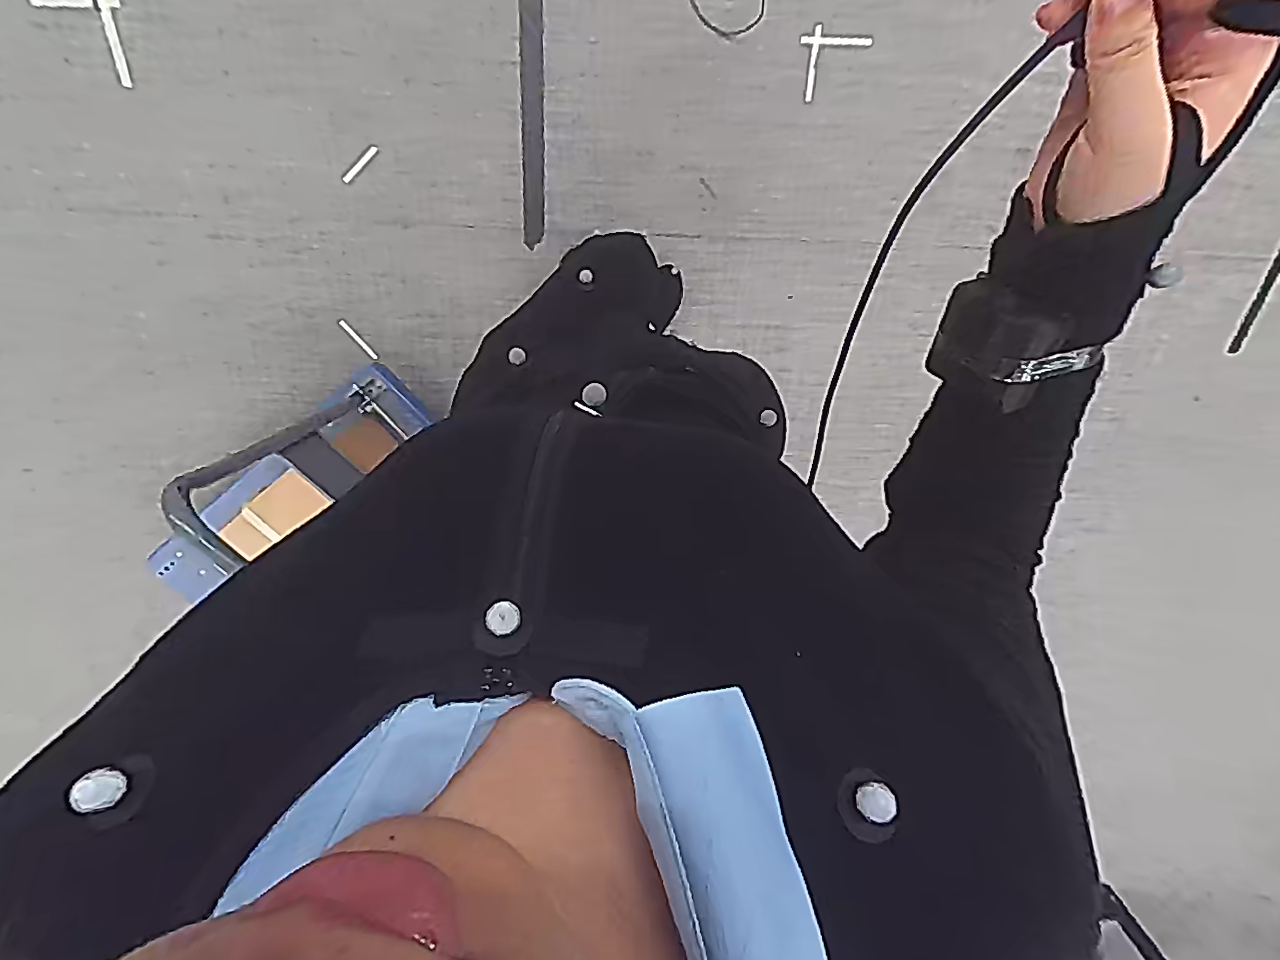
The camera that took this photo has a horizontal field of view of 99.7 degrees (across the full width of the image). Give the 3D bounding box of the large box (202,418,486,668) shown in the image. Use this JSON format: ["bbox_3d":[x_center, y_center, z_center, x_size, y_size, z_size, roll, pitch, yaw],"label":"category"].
[{"bbox_3d":[-0.628,0.133,1.231,0.320,0.320,0.408,-36,109,12],"label":"large box"}]
